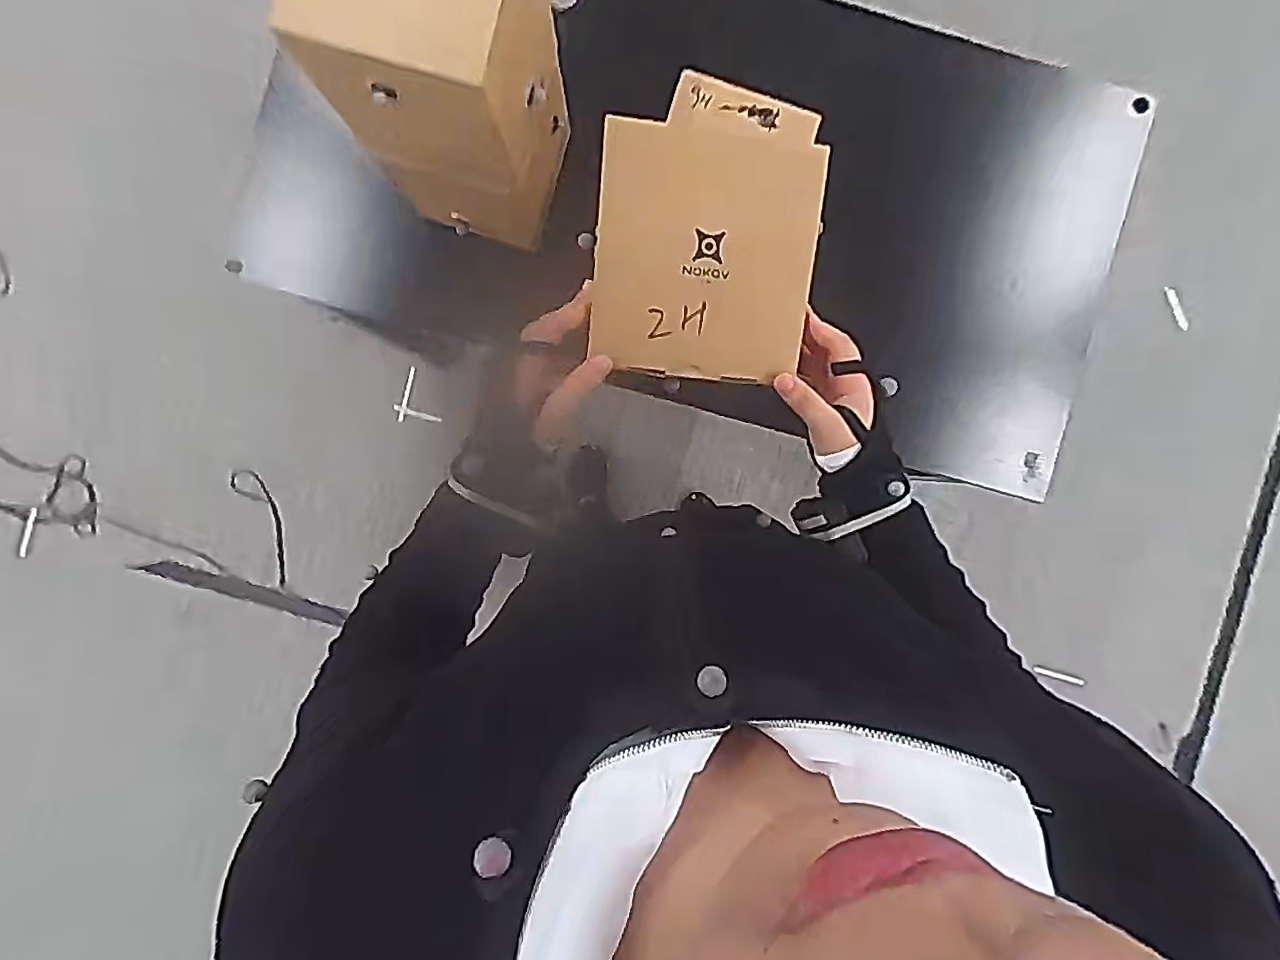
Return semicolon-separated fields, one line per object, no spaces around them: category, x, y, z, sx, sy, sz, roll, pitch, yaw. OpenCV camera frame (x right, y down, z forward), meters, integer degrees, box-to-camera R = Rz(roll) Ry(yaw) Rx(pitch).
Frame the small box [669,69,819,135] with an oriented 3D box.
small box;0.096;-0.352;0.681;0.168;0.176;0.179;18;92;-2

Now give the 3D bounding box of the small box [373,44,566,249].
small box;-0.195;-0.422;0.672;0.168;0.176;0.179;15;92;-1

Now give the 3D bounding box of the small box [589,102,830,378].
small box;0.044;-0.188;0.479;0.168;0.176;0.179;6;101;-5

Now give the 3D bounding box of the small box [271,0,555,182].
small box;-0.190;-0.415;0.508;0.179;0.176;0.168;14;91;-2
